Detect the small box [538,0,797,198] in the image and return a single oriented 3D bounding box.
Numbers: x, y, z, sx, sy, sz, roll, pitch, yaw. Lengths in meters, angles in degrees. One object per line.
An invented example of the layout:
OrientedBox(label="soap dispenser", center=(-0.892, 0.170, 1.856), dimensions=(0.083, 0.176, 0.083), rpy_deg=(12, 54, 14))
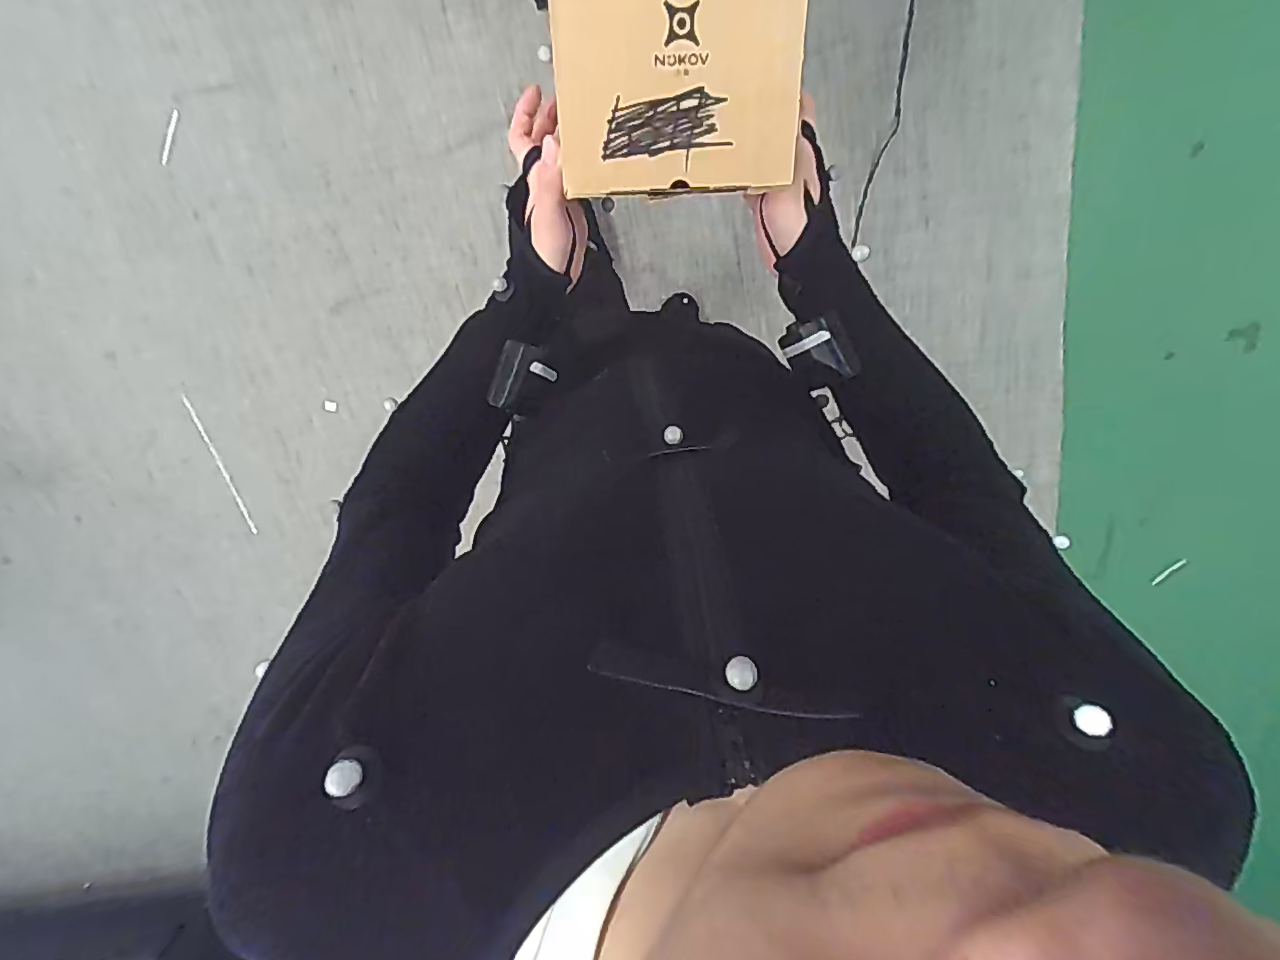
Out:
OrientedBox(label="small box", center=(0.015, -0.322, 0.419), dimensions=(0.168, 0.176, 0.179), rpy_deg=(-3, 118, -1))
